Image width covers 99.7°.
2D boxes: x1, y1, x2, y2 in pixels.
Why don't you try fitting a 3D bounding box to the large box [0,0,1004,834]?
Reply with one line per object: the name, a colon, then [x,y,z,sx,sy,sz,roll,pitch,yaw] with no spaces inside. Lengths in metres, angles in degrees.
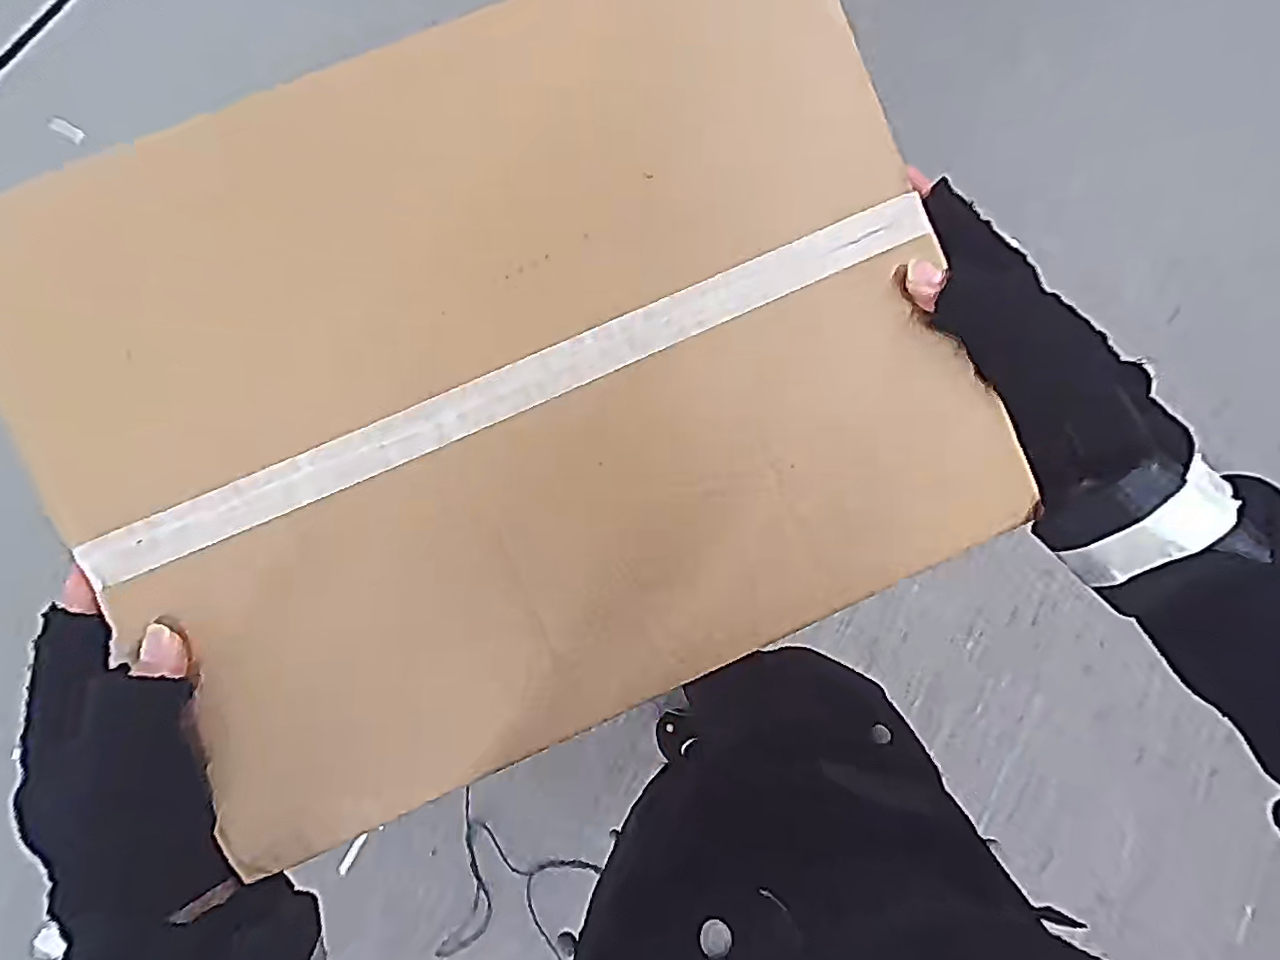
large box: [-0.059,-0.054,0.406,0.408,0.320,0.320,-23,93,-3]
